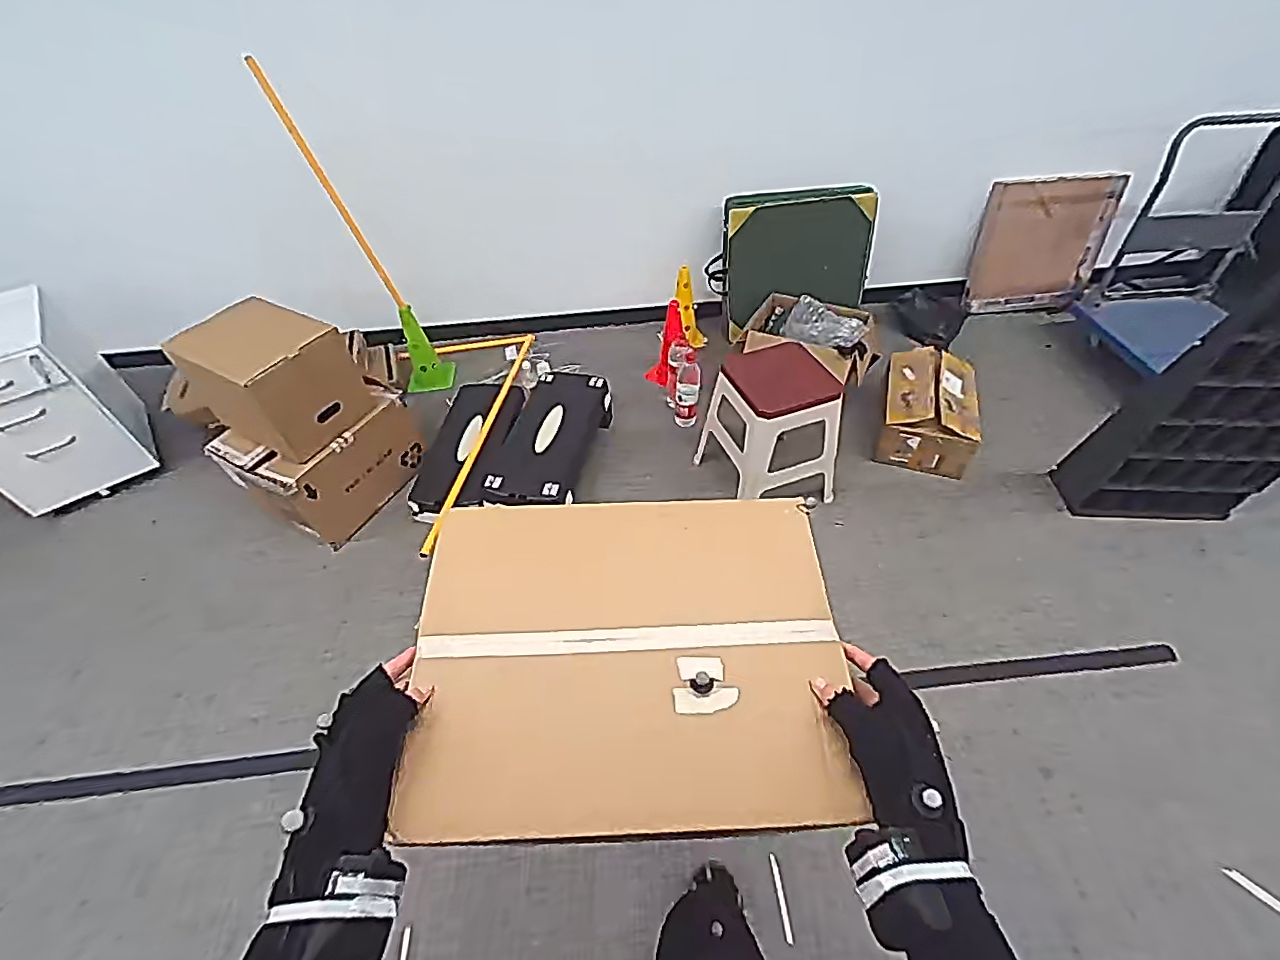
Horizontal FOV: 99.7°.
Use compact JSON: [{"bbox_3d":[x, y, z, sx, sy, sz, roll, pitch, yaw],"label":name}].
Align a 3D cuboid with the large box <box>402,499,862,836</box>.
[{"bbox_3d":[-0.013,0.239,0.665,0.408,0.320,0.320,-1,56,-1],"label":"large box"}]
